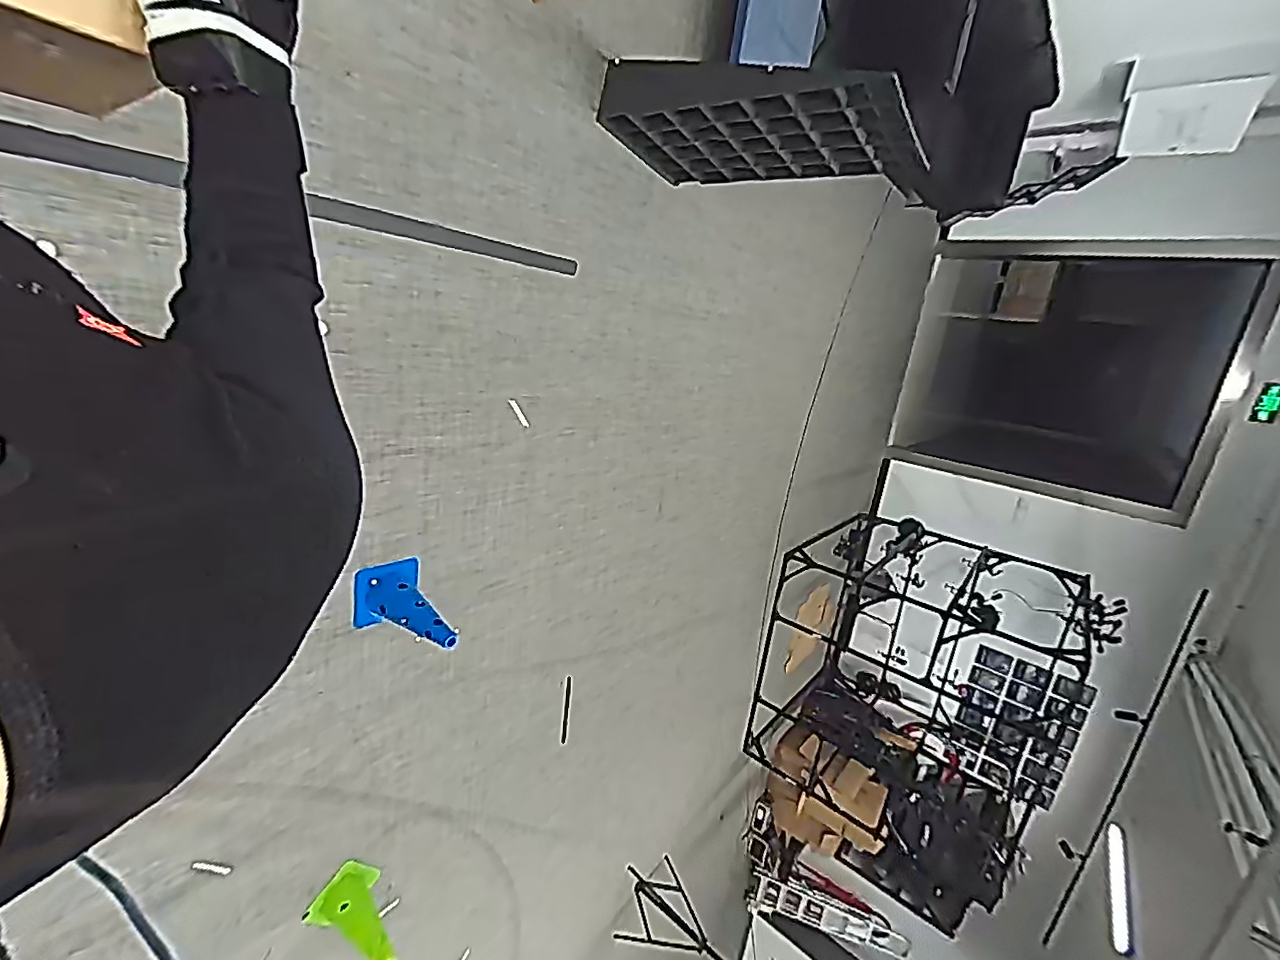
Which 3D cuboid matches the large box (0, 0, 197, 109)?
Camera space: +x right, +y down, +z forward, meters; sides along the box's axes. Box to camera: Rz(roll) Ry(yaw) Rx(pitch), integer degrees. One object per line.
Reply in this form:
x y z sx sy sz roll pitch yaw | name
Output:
-0.534 -0.447 0.269 0.408 0.320 0.320 -13 117 -52 | large box

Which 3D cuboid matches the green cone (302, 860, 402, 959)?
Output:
-0.900 1.480 1.782 0.202 0.368 0.200 -51 141 -28 | green cone

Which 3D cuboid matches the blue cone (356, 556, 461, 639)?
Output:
-0.670 0.384 1.615 0.192 0.380 0.193 -8 112 -53 | blue cone
